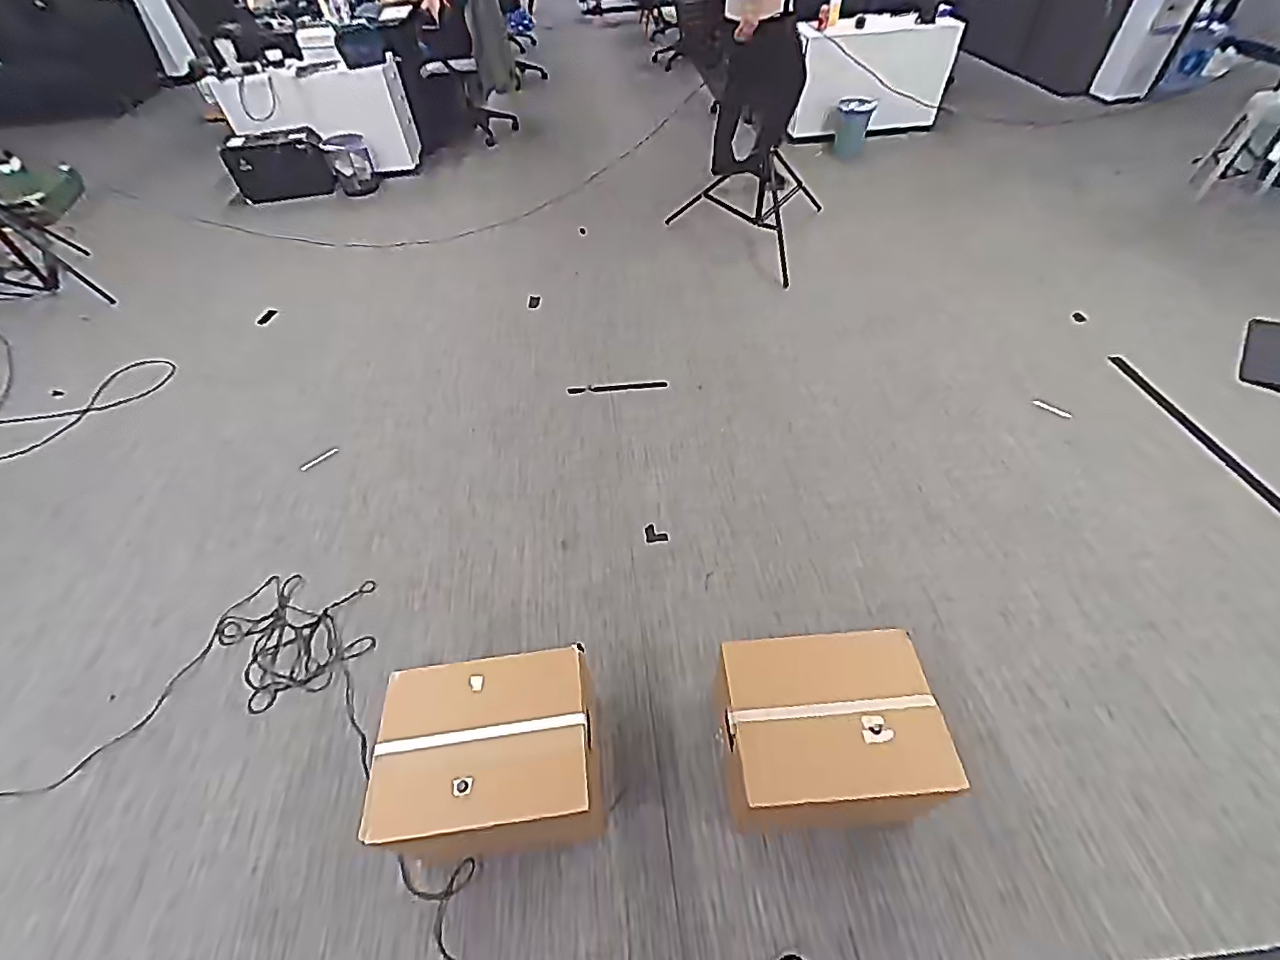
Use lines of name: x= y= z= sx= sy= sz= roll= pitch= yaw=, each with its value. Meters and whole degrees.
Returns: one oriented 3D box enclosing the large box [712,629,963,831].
large box: x=0.388 y=0.552 z=1.190 sx=0.408 sy=0.320 sz=0.320 roll=-4 pitch=50 yaw=-1
